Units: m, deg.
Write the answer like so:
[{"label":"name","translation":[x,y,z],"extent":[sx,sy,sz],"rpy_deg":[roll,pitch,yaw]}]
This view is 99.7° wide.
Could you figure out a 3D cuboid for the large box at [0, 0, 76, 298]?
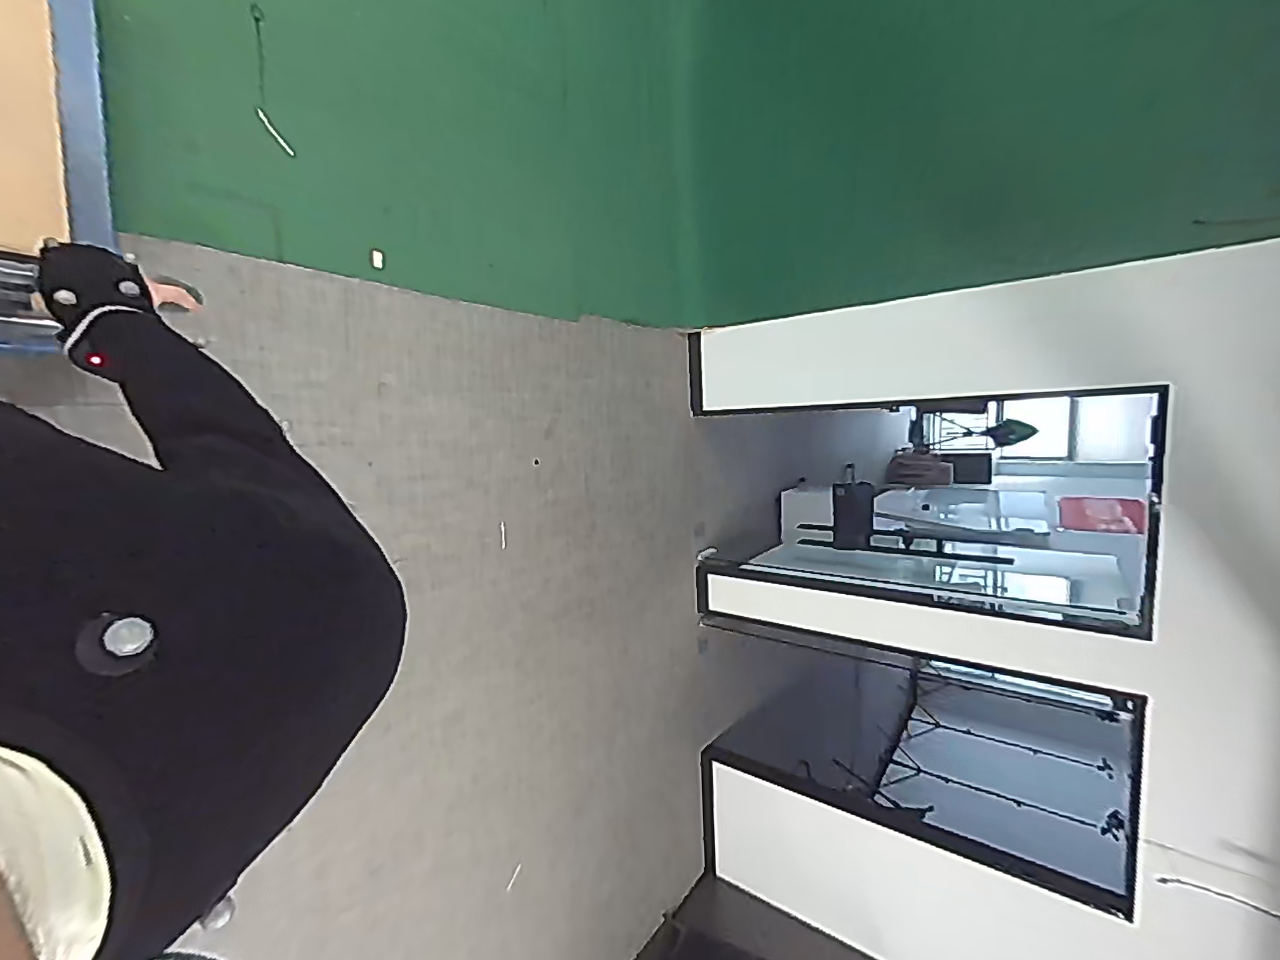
[{"label":"large box","translation":[-1.096,-0.520,0.793],"extent":[0.320,0.320,0.408],"rpy_deg":[-8,96,-53]}]
